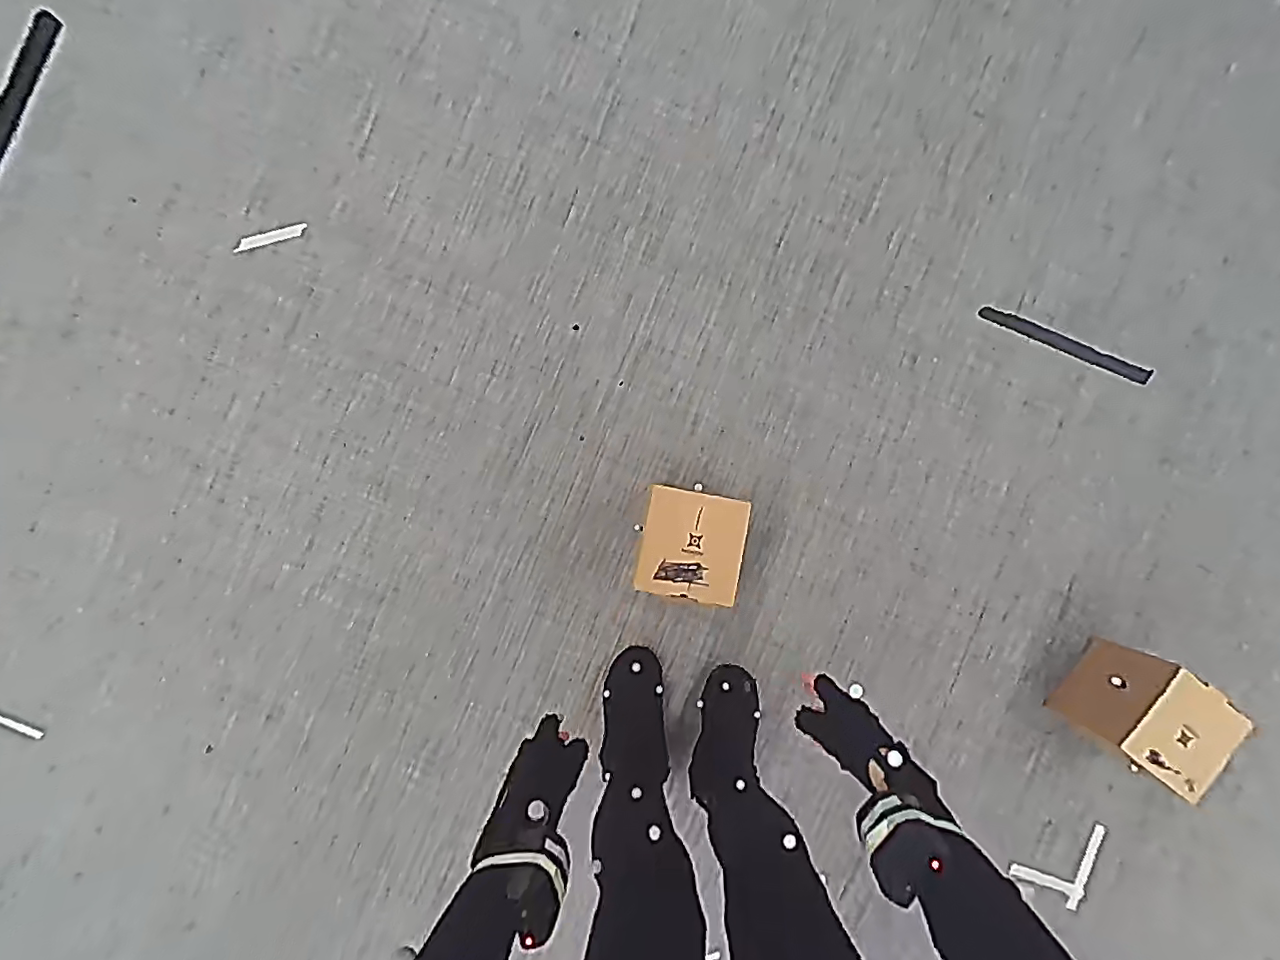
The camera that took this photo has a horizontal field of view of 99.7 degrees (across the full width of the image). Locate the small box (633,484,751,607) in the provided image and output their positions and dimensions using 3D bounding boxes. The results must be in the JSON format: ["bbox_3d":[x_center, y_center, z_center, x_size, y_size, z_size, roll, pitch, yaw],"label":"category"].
[{"bbox_3d":[0.085,0.108,0.959,0.168,0.176,0.179,11,89,-1],"label":"small box"}]

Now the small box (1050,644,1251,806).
[{"bbox_3d":[0.909,0.430,0.983,0.168,0.176,0.179,38,88,-1],"label":"small box"}]
